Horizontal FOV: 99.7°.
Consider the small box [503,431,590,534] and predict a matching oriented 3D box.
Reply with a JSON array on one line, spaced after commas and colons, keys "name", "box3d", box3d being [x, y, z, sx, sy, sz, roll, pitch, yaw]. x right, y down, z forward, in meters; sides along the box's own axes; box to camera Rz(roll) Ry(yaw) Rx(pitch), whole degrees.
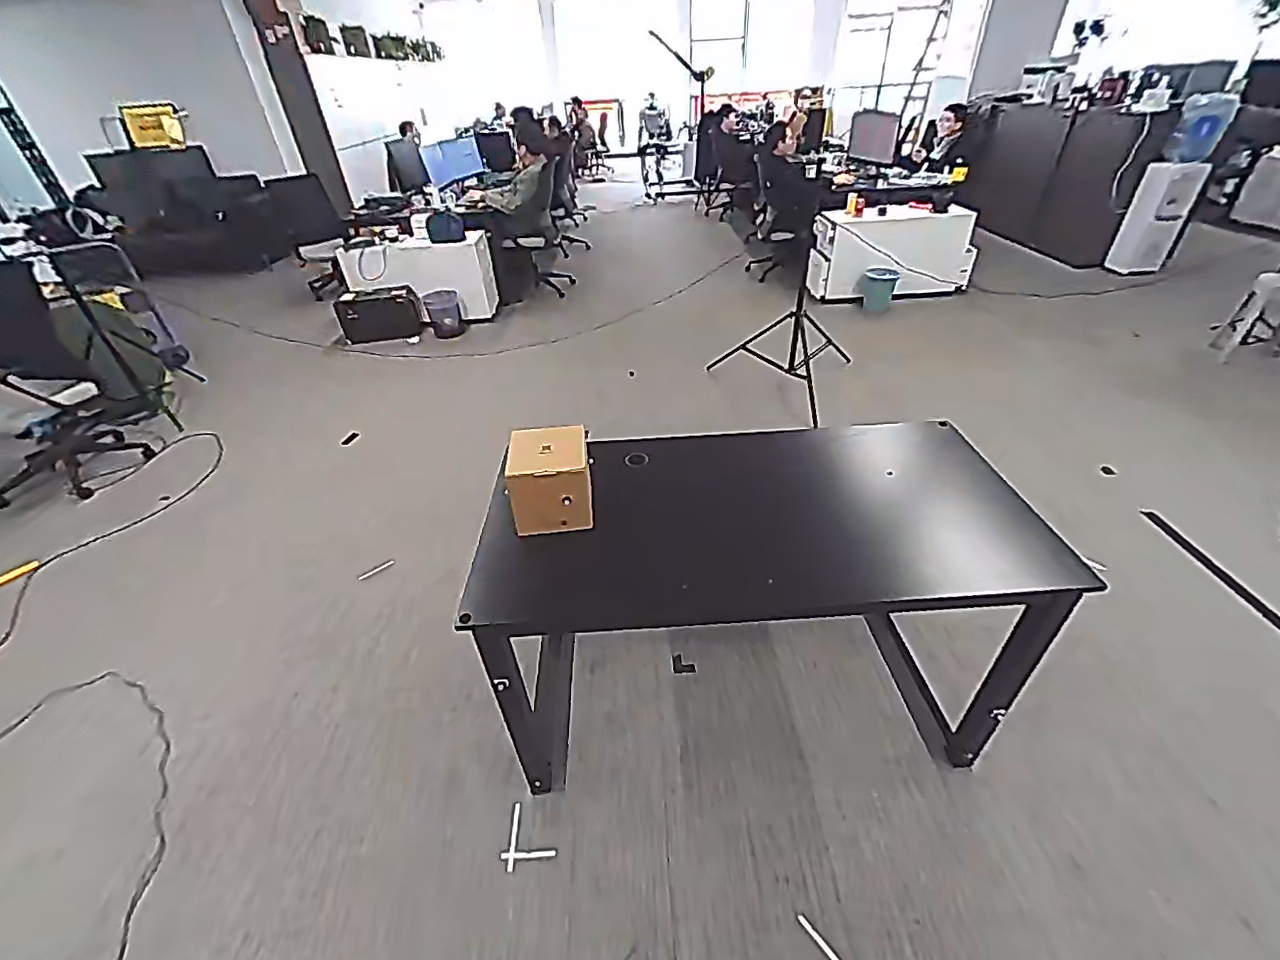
[{"name": "small box", "box3d": [-0.203, 0.010, 1.215, 0.168, 0.176, 0.179, -5, 36, -4]}]
